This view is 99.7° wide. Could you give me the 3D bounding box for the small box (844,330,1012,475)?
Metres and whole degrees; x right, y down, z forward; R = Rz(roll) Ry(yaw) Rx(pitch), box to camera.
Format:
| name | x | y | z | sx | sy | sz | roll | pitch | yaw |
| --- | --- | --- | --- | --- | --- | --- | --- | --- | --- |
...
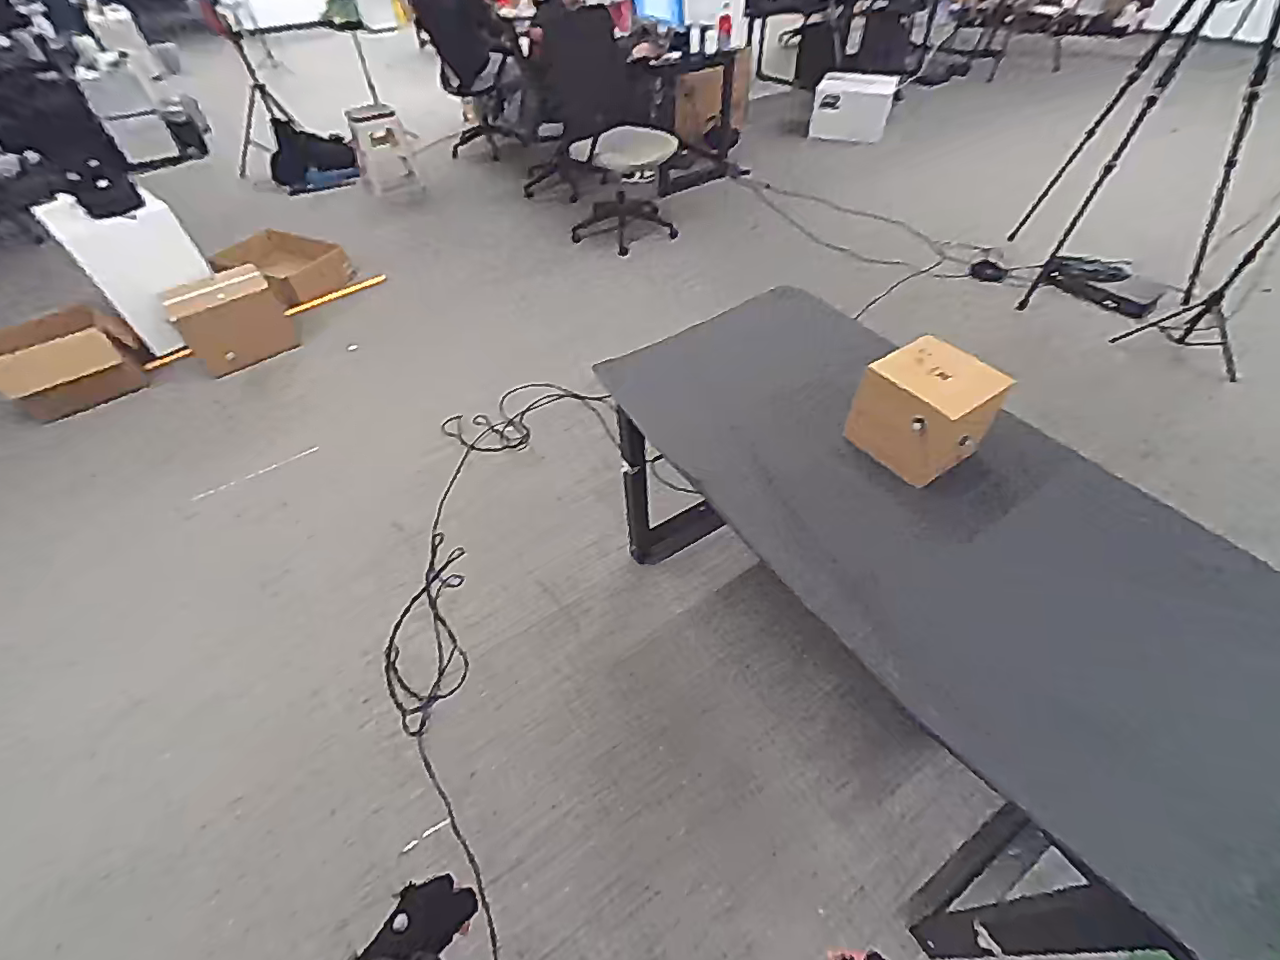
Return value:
| name | x | y | z | sx | sy | sz | roll | pitch | yaw |
| --- | --- | --- | --- | --- | --- | --- | --- | --- | --- |
| small box | 0.501 | -0.131 | 0.966 | 0.168 | 0.176 | 0.179 | -28 | 52 | -21 |
